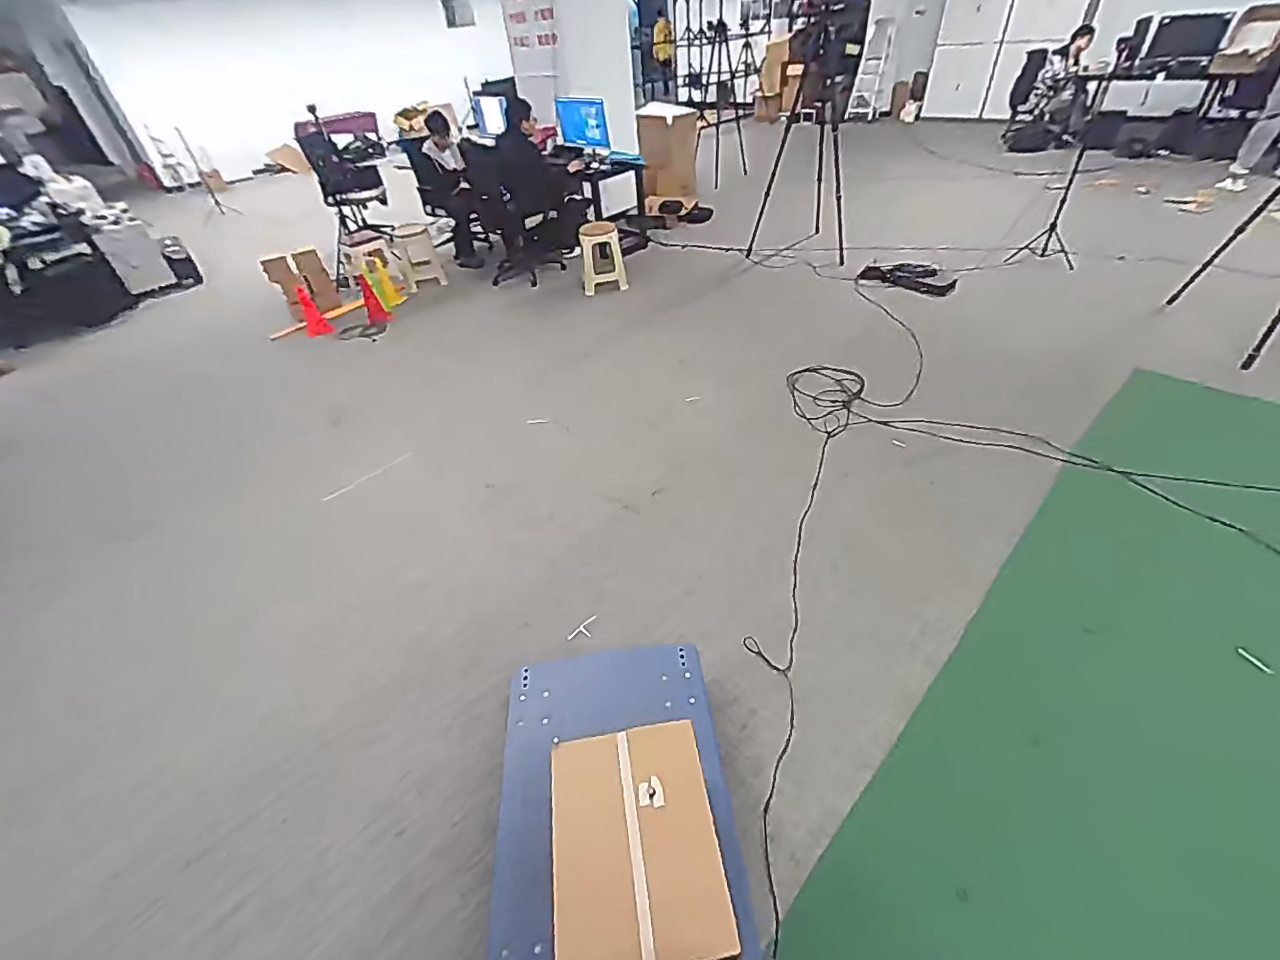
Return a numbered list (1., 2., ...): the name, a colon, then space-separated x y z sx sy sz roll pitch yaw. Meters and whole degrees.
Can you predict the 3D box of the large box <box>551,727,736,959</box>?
1. large box: -0.002 0.816 1.146 0.320 0.320 0.408 -8 39 -4
